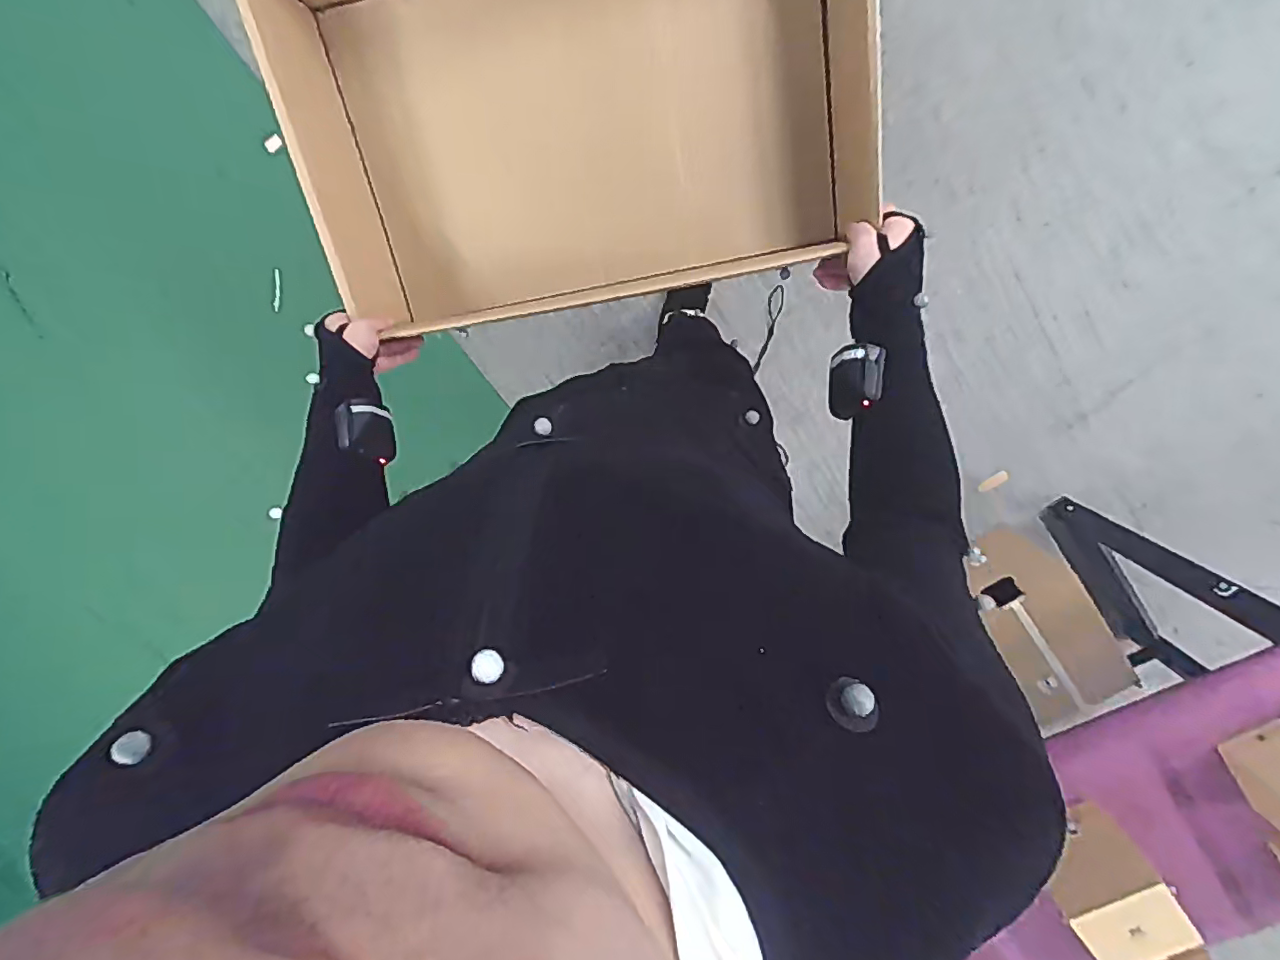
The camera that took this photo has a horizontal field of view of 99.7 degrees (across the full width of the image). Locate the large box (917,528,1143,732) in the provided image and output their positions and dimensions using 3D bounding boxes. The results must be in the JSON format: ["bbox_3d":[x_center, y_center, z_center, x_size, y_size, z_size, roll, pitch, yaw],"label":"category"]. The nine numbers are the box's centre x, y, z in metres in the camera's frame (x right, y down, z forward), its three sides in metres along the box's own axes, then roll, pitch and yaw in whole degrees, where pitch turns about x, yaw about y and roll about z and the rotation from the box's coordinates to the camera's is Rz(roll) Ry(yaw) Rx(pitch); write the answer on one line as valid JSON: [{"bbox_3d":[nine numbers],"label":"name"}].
[{"bbox_3d":[1.094,0.419,1.560,0.320,0.320,0.408,-36,103,15],"label":"large box"}]

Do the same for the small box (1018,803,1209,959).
[{"bbox_3d":[0.848,0.740,0.985,0.168,0.176,0.179,-36,103,13],"label":"small box"}]

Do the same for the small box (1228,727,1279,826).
[{"bbox_3d":[1.150,0.523,0.891,0.168,0.176,0.179,-36,104,15],"label":"small box"}]
